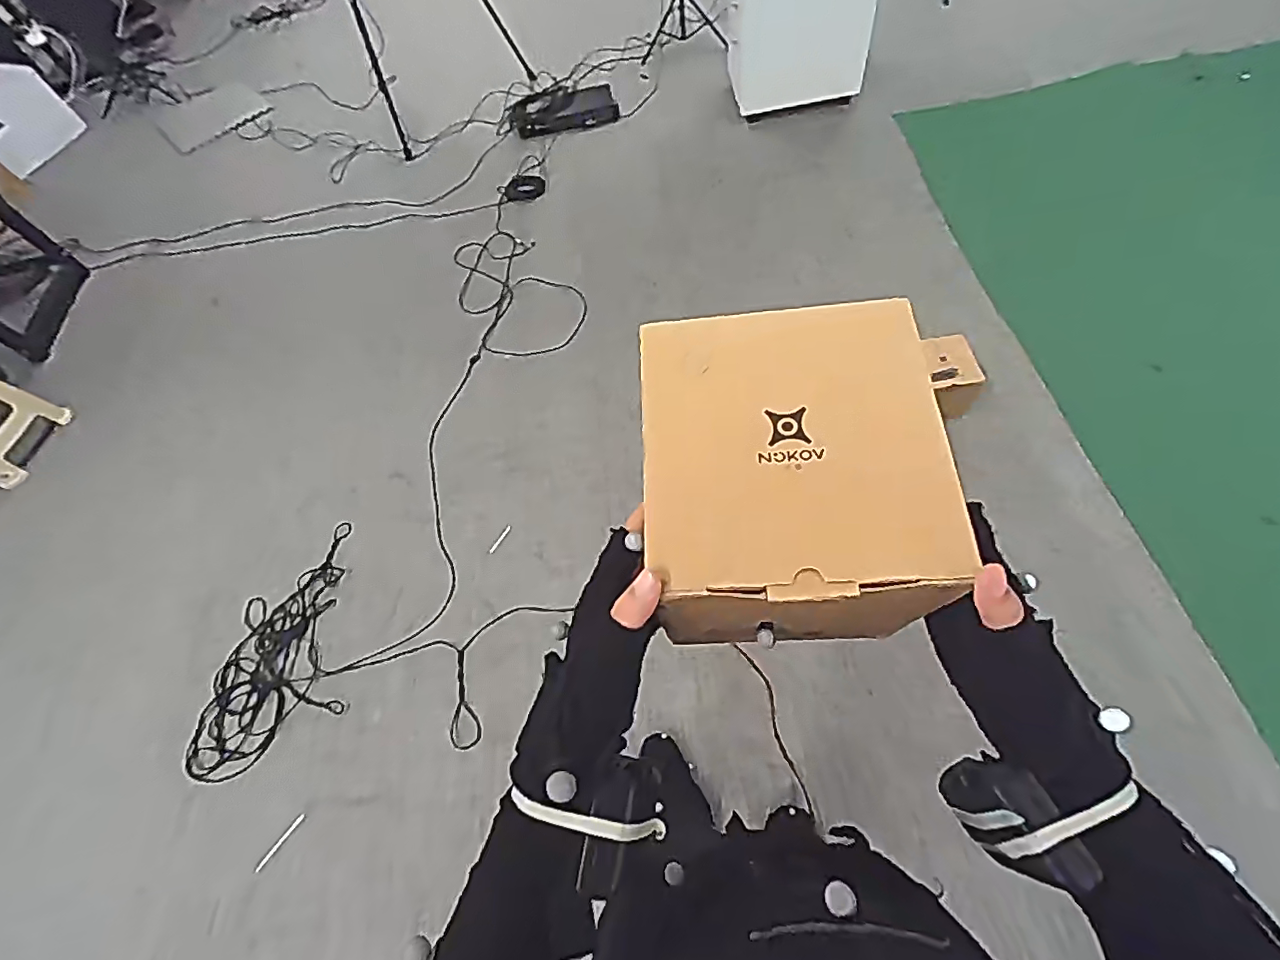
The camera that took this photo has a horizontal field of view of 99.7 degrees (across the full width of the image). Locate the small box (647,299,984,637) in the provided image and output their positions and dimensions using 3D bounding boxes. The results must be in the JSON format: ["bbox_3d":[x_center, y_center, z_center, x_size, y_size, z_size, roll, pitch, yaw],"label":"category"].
[{"bbox_3d":[0.093,0.005,0.374,0.168,0.176,0.179,-4,65,6],"label":"small box"}]

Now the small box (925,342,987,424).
[{"bbox_3d":[0.860,-0.269,1.568,0.168,0.176,0.179,-7,60,5],"label":"small box"}]
